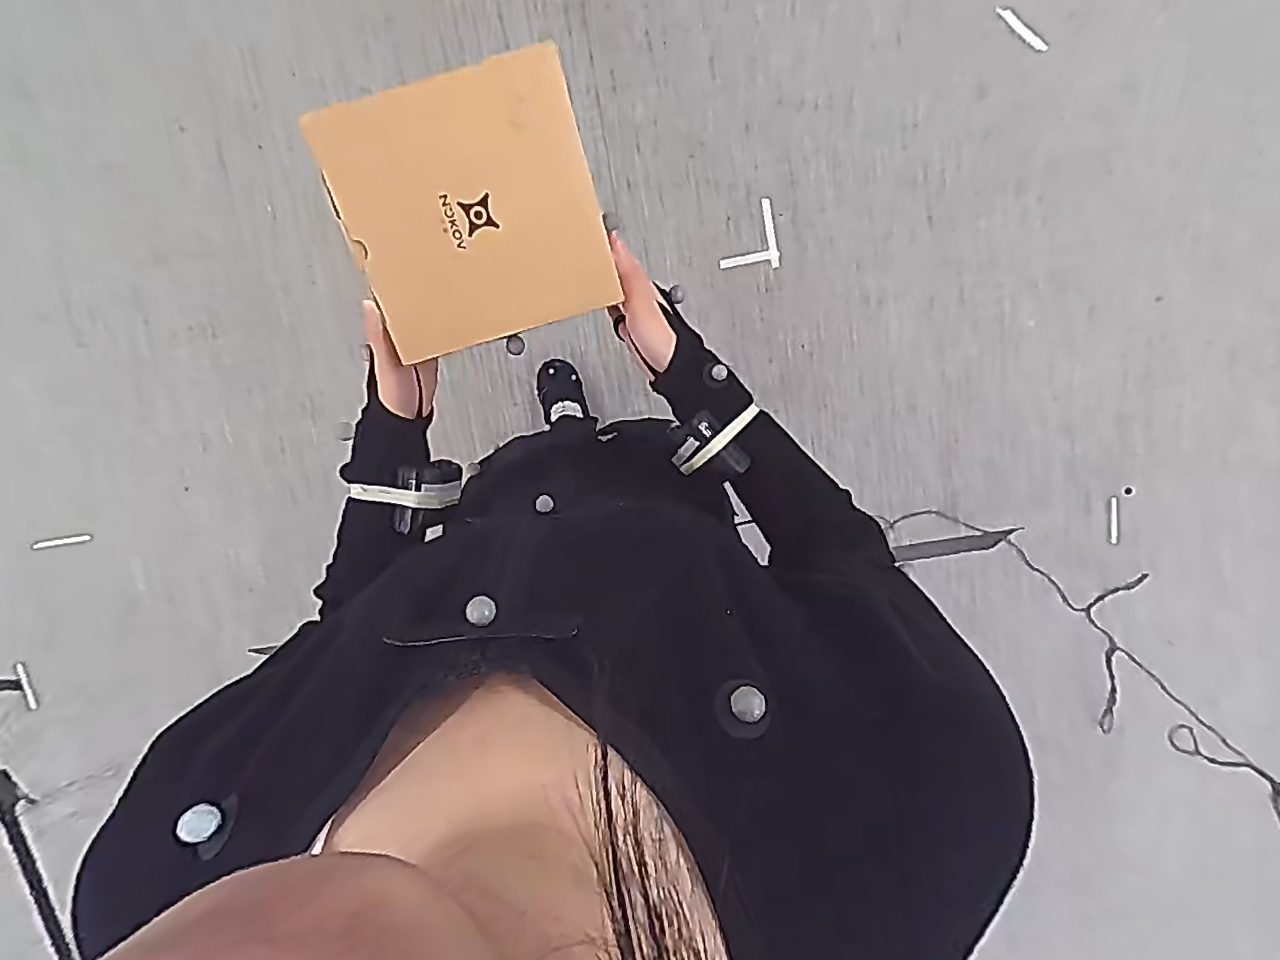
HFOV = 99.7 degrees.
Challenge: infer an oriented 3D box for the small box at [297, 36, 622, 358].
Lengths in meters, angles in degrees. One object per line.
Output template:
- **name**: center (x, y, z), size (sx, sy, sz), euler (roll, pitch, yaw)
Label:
- **small box**: center (-0.123, -0.214, 0.446), size (0.179, 0.176, 0.168), euler (-16, 111, 3)
